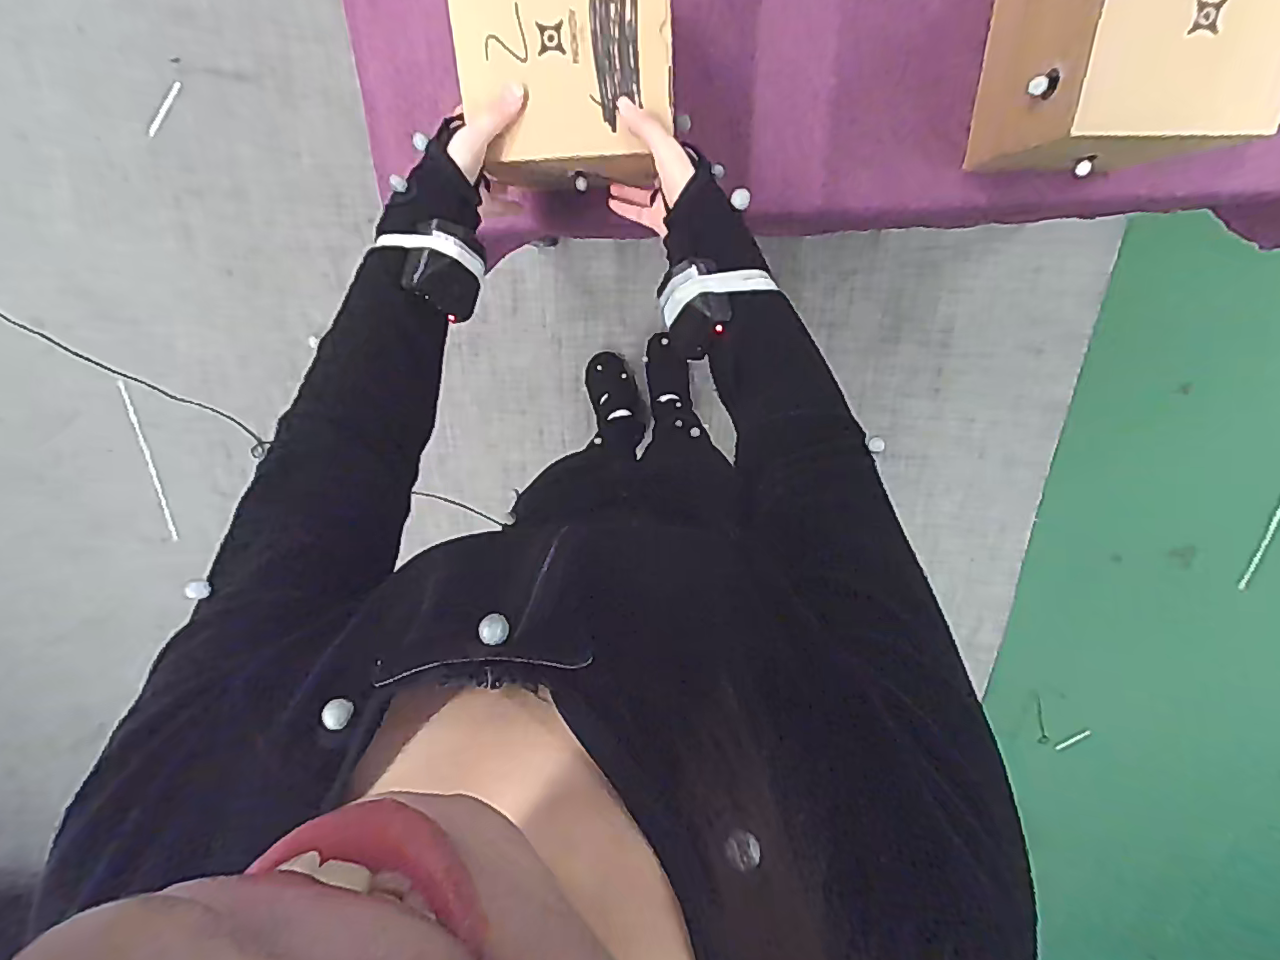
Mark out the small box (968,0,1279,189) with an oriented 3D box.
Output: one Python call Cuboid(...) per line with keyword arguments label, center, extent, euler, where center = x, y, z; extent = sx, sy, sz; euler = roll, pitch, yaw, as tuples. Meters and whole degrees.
Cuboid(label="small box", center=(0.437, -0.376, 0.497), extent=(0.168, 0.176, 0.179), euler=(1, 110, 1))
